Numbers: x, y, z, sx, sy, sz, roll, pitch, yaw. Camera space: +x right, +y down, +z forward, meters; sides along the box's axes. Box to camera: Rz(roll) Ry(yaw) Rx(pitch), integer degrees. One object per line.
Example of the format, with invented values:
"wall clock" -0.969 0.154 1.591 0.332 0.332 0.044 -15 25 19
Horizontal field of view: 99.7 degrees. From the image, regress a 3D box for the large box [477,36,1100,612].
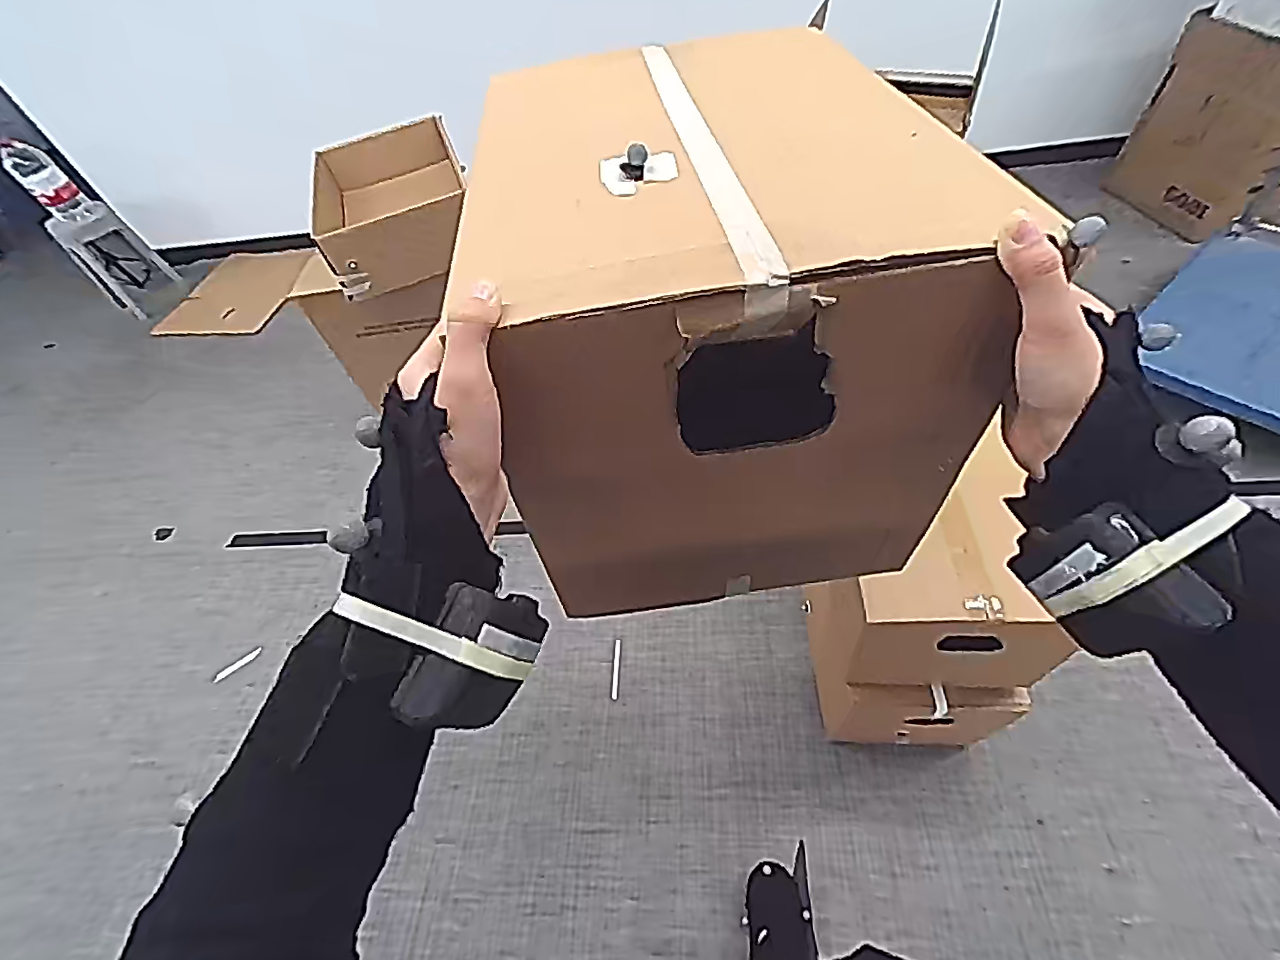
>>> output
"large box" 0.057 -0.145 0.495 0.320 0.320 0.408 -10 51 0
